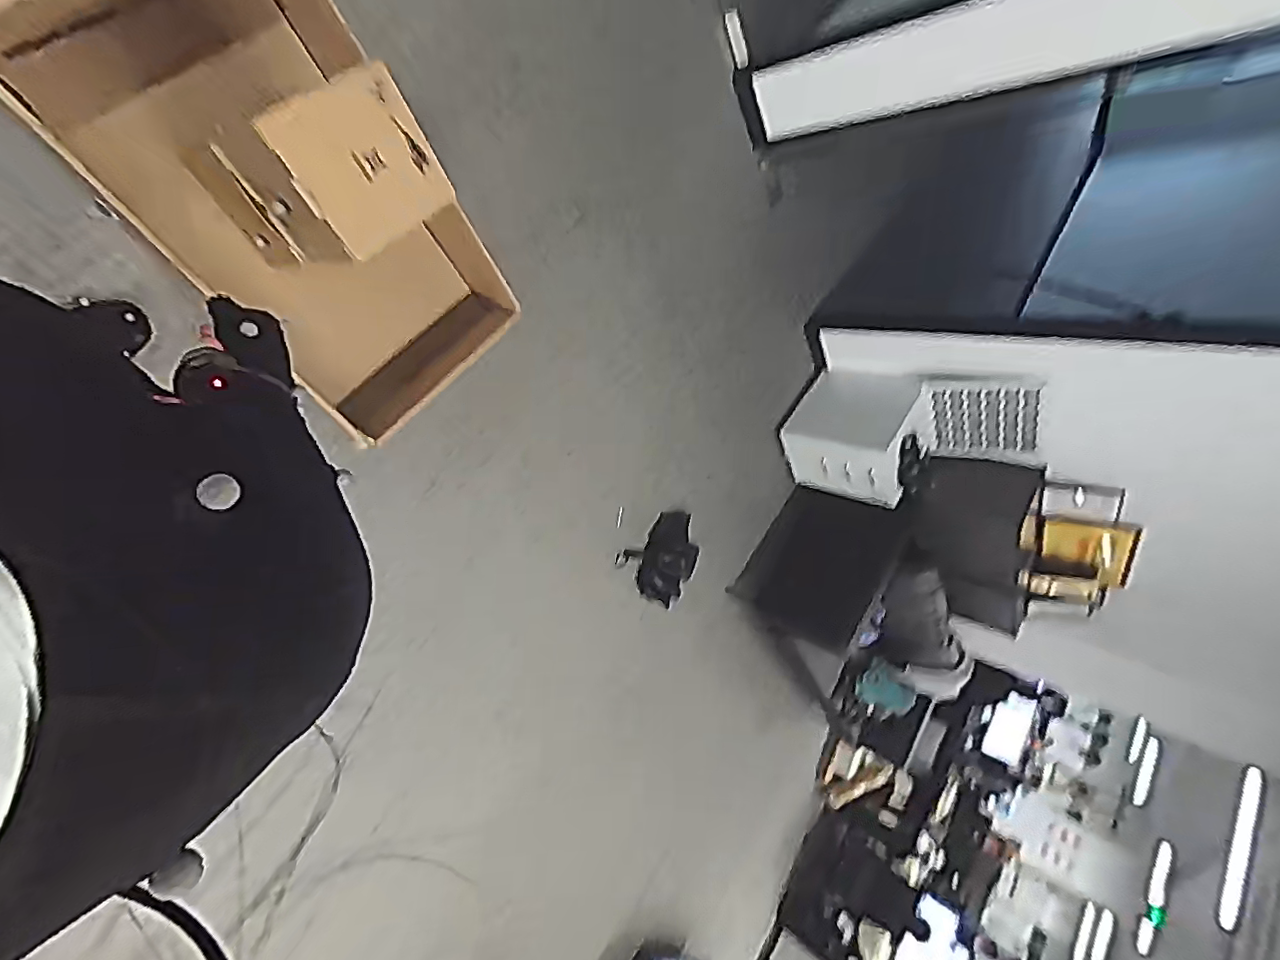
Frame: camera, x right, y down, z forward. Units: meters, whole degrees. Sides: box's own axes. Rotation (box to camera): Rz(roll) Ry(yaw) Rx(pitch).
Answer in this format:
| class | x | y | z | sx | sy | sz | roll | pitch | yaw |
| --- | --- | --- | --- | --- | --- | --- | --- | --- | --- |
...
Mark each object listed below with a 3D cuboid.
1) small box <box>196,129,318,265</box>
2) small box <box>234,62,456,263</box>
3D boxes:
| class | x | y | z | sx | sy | sz | roll | pitch | yaw |
| --- | --- | --- | --- | --- | --- | --- | --- | --- | --- |
| small box | -0.513 | -0.438 | 0.806 | 0.179 | 0.176 | 0.168 | -51 | 137 | -25 |
| small box | -0.387 | -0.403 | 0.707 | 0.179 | 0.176 | 0.168 | -49 | 137 | -23 |
